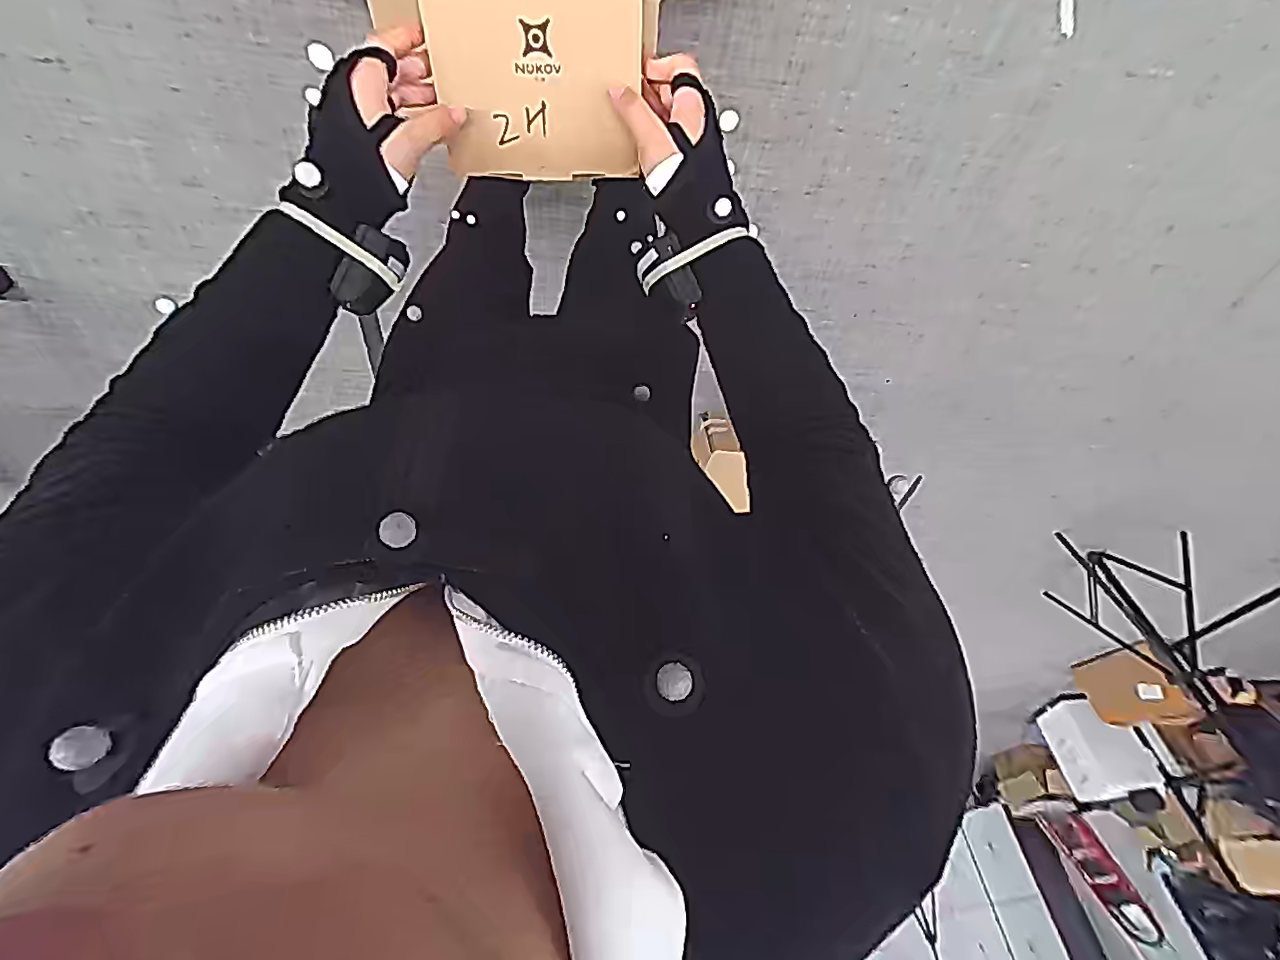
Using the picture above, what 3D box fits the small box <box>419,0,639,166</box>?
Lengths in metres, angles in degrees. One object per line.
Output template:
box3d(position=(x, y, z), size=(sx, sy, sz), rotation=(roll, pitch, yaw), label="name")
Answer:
box3d(position=(-0.087, -0.395, 0.475), size=(0.168, 0.176, 0.179), rotation=(0, 133, -2), label="small box")
